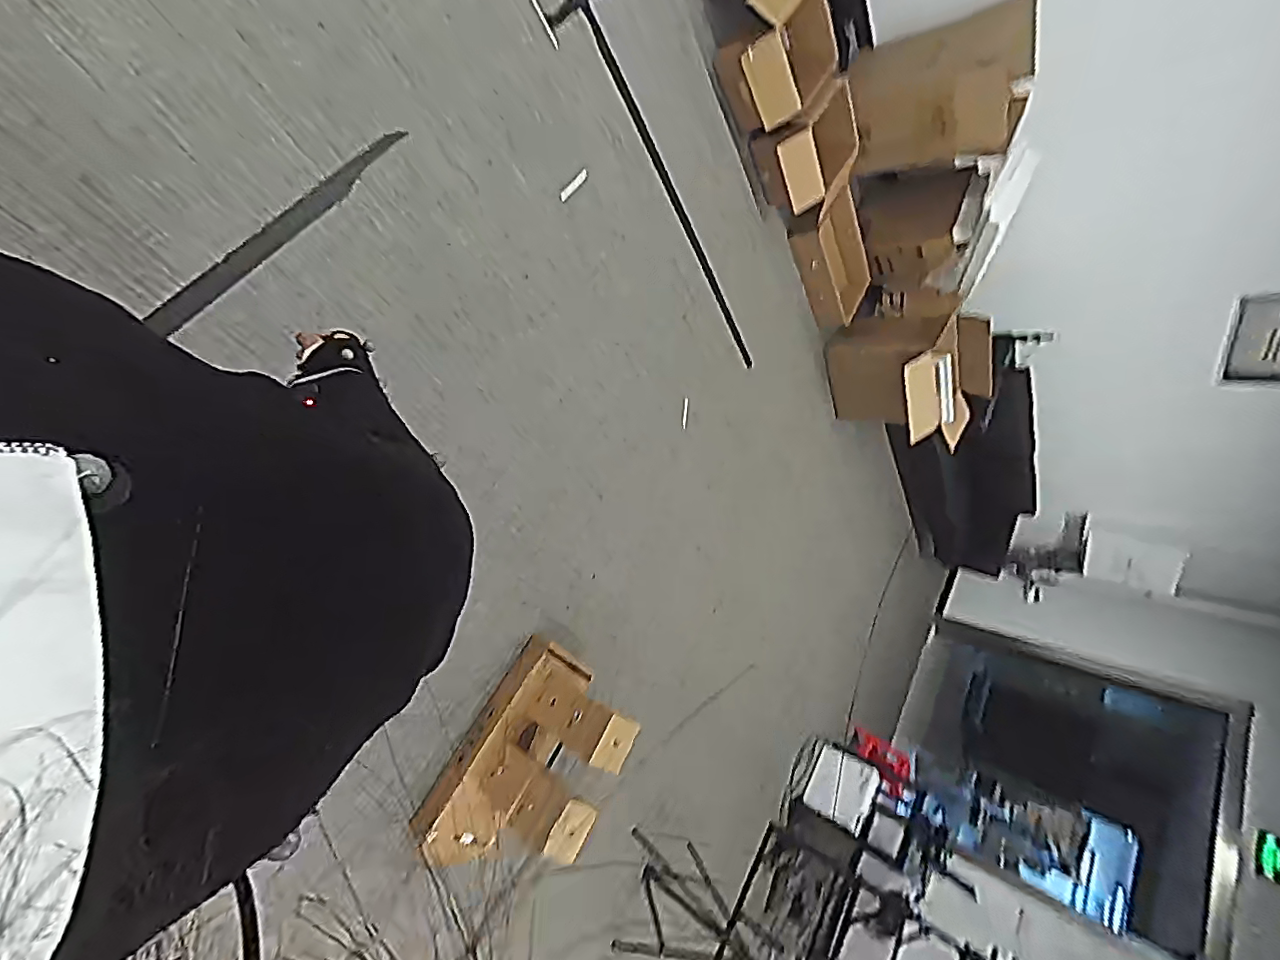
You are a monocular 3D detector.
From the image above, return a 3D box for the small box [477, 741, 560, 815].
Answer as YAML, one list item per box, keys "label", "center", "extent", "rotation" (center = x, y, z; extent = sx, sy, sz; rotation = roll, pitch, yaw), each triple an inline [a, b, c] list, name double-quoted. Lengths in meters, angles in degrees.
- label: "small box"
  center: [-0.403, 1.006, 1.802]
  extent: [0.168, 0.176, 0.179]
  rotation: [-55, 133, -24]

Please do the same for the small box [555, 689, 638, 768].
- label: "small box"
  center: [-0.146, 0.820, 1.791]
  extent: [0.179, 0.176, 0.168]
  rotation: [46, 66, -42]

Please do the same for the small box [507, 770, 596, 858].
- label: "small box"
  center: [-0.278, 1.046, 1.699]
  extent: [0.168, 0.176, 0.179]
  rotation: [-58, 135, -21]

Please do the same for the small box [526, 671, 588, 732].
- label: "small box"
  center: [-0.266, 0.797, 1.900]
  extent: [0.168, 0.176, 0.179]
  rotation: [-56, 133, -21]
